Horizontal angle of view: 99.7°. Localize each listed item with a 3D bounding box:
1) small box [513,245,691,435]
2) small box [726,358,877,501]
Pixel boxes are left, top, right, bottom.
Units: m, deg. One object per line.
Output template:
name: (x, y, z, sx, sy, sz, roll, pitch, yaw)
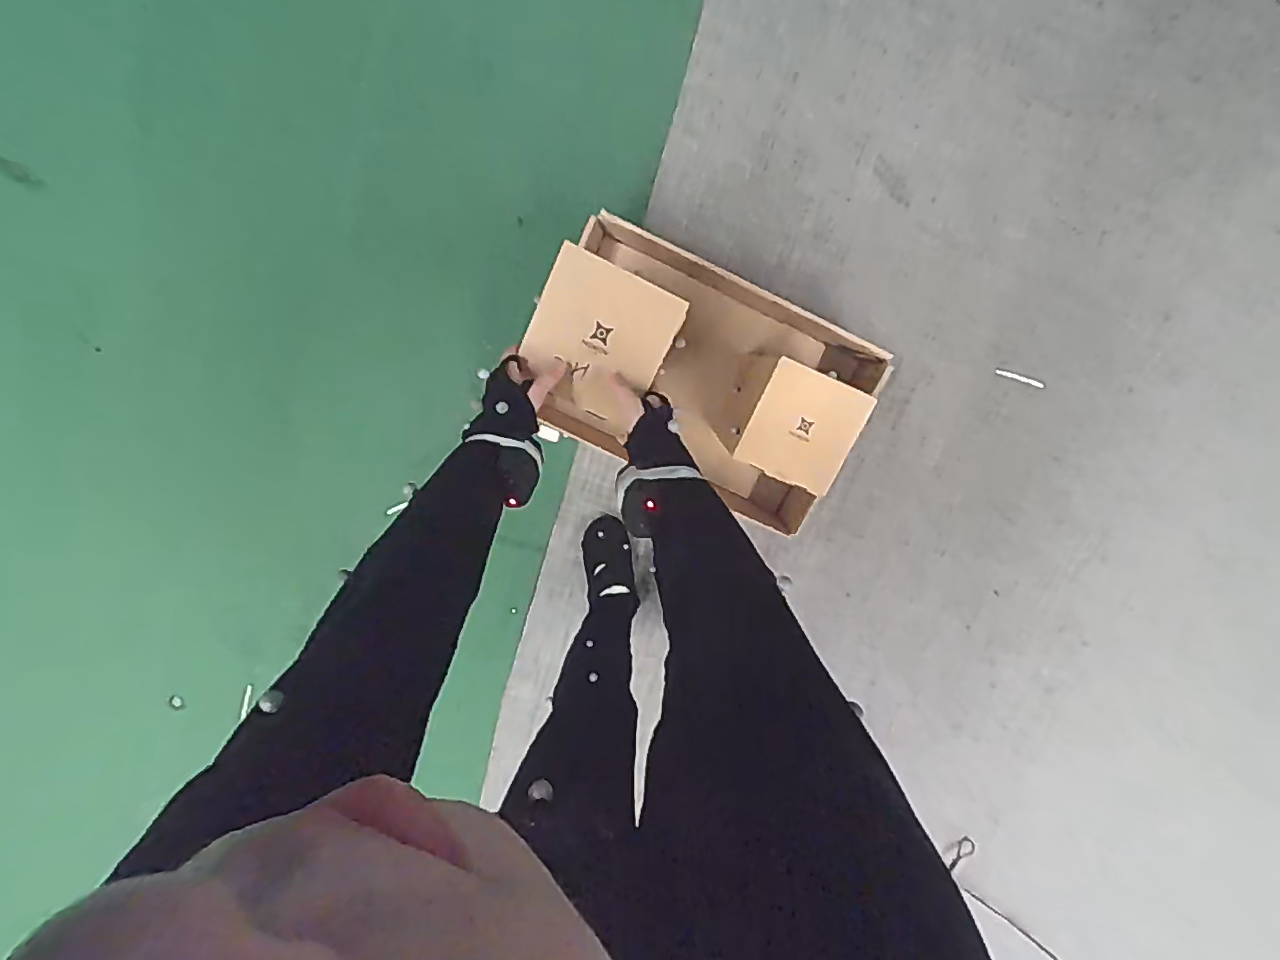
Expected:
small box: (-0.049, -0.186, 0.733, 0.168, 0.176, 0.179, 26, 103, -6)
small box: (0.258, -0.094, 0.916, 0.168, 0.176, 0.179, 25, 103, -3)
